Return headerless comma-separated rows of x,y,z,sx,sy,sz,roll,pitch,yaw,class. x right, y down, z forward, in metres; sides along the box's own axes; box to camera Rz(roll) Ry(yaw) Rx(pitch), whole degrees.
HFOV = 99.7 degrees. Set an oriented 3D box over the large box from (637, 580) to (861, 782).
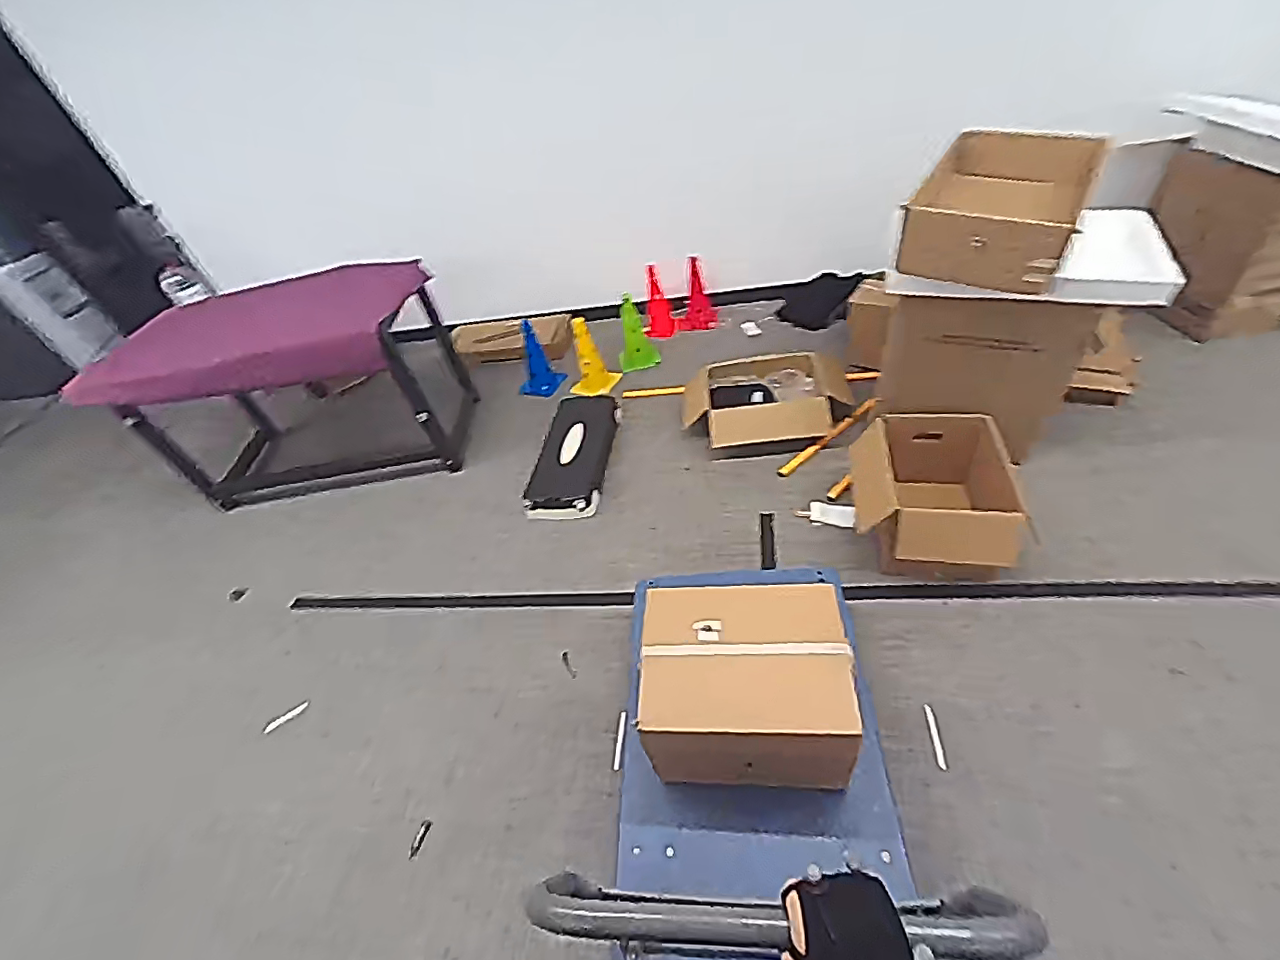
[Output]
0.228,0.441,1.169,0.408,0.320,0.320,-5,43,11,large box
